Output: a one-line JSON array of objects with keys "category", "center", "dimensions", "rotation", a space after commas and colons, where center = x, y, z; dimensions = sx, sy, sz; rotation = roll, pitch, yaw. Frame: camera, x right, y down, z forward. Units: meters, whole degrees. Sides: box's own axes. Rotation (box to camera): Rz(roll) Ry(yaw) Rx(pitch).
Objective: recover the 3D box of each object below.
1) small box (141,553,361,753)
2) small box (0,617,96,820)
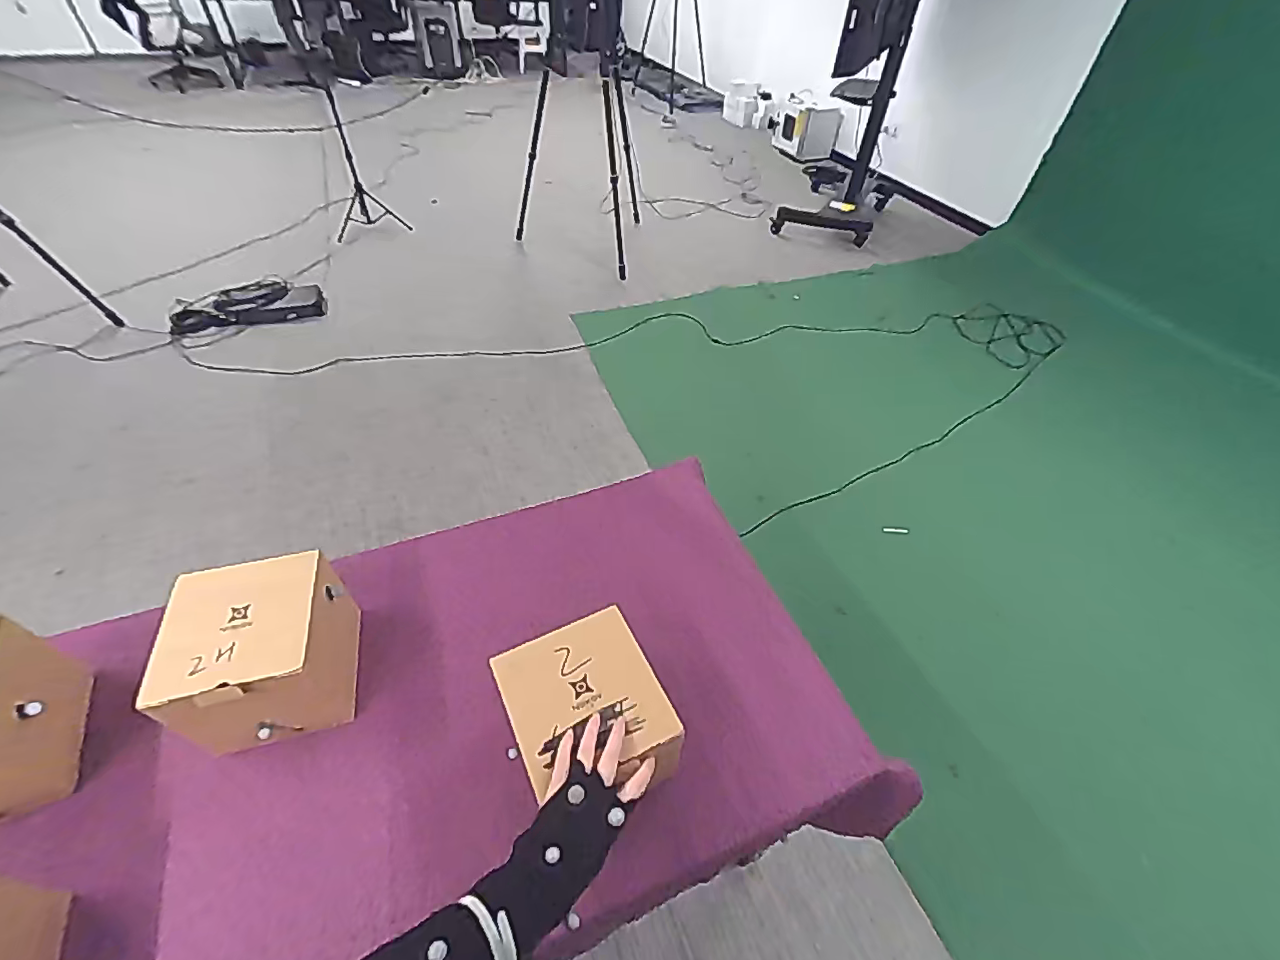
[{"category": "small box", "center": [-0.481, 0.225, 0.707], "dimensions": [0.168, 0.176, 0.179], "rotation": [-10, 48, -12]}, {"category": "small box", "center": [-0.789, 0.296, 0.624], "dimensions": [0.168, 0.176, 0.179], "rotation": [-18, 51, -20]}]
